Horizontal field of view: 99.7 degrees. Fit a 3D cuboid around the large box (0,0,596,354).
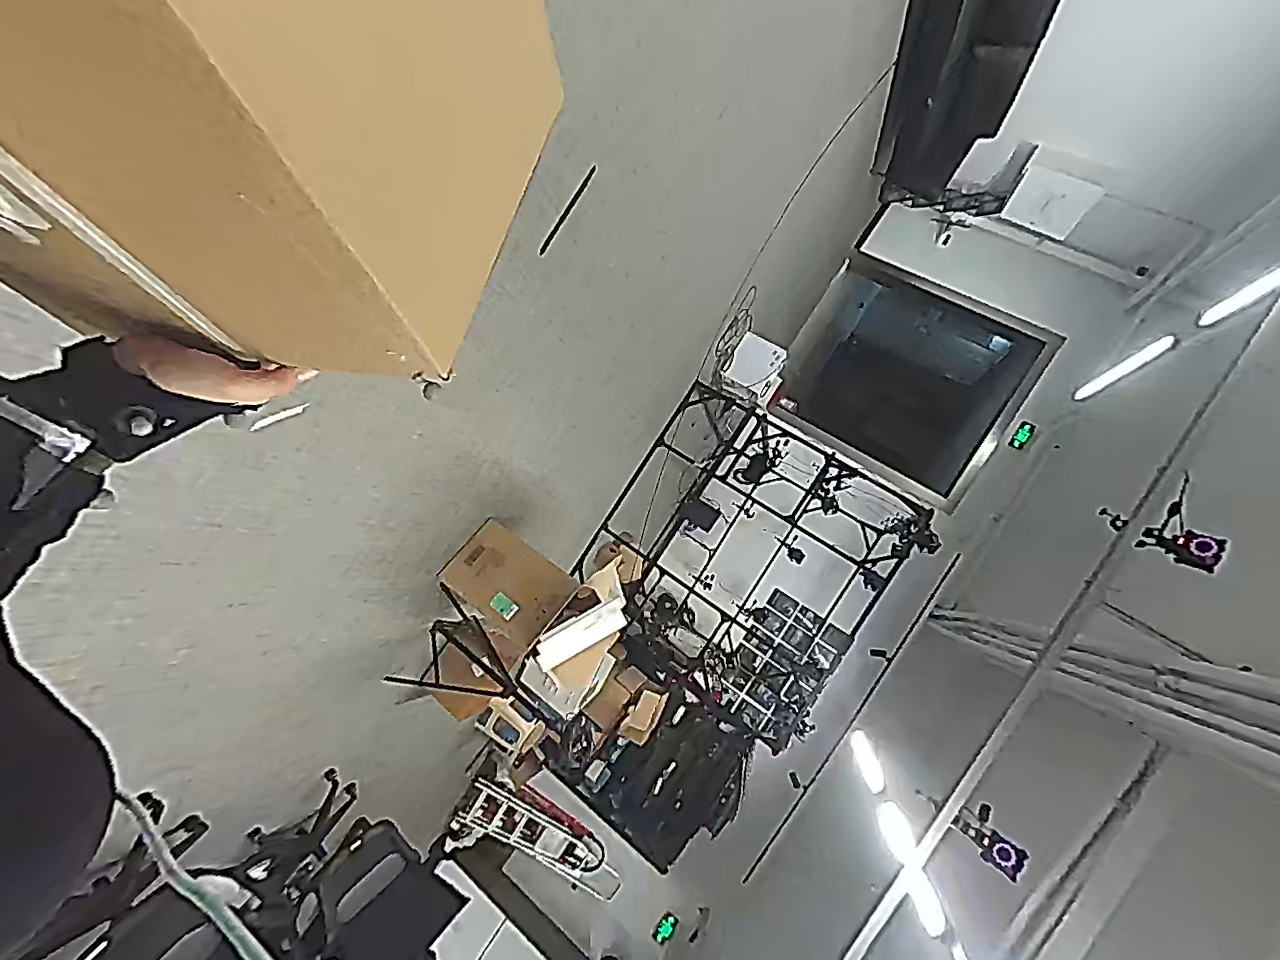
[{"bbox_3d":[-0.236,-0.320,0.268,0.408,0.320,0.320,74,27,-64],"label":"large box"}]
